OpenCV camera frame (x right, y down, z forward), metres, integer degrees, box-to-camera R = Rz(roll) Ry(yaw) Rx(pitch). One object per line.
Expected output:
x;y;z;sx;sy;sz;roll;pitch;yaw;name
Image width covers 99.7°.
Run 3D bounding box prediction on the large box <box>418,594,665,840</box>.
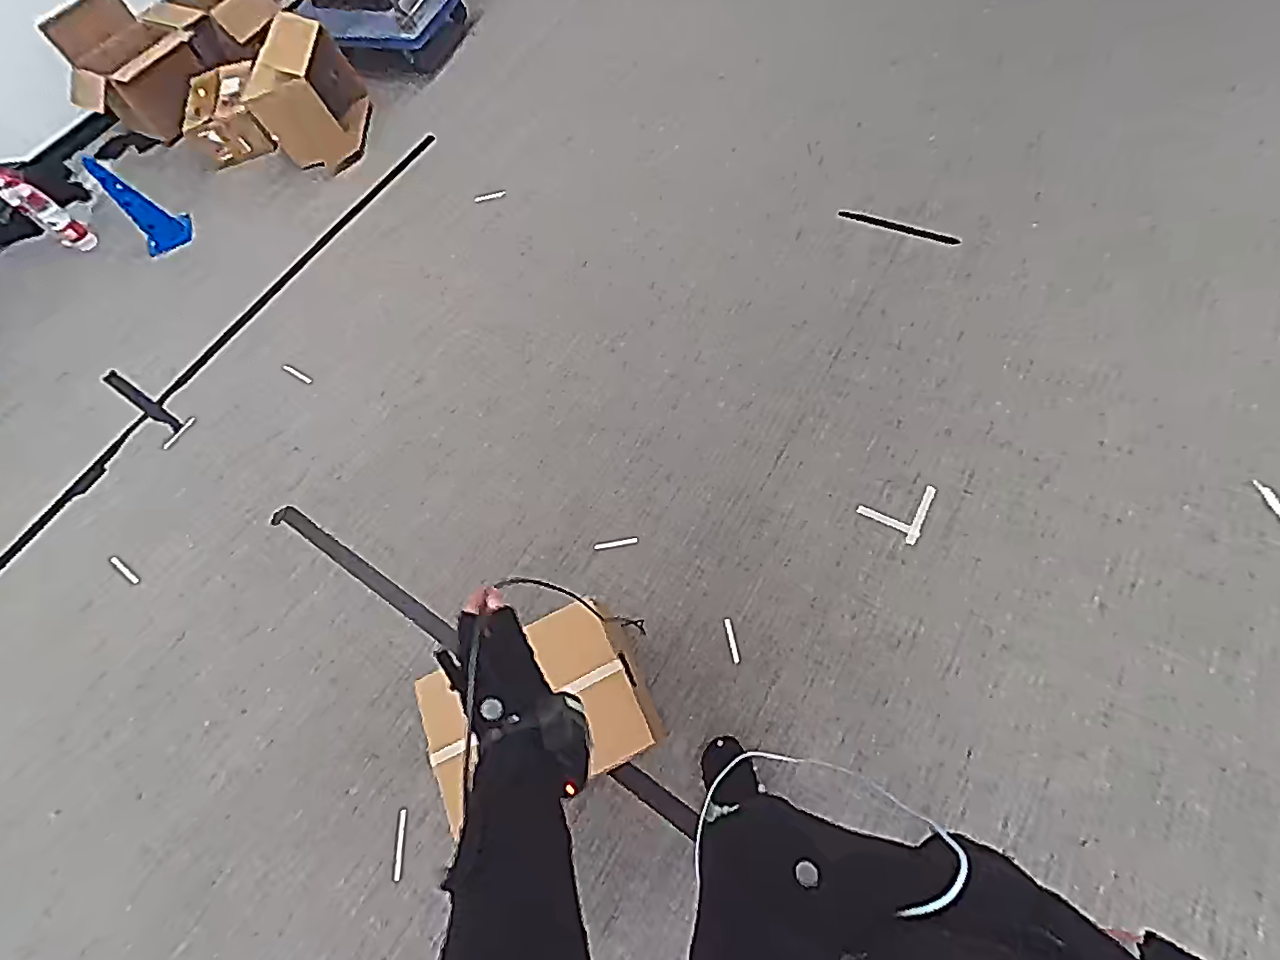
-0.197;0.510;1.188;0.408;0.320;0.320;-26;65;-4;large box
